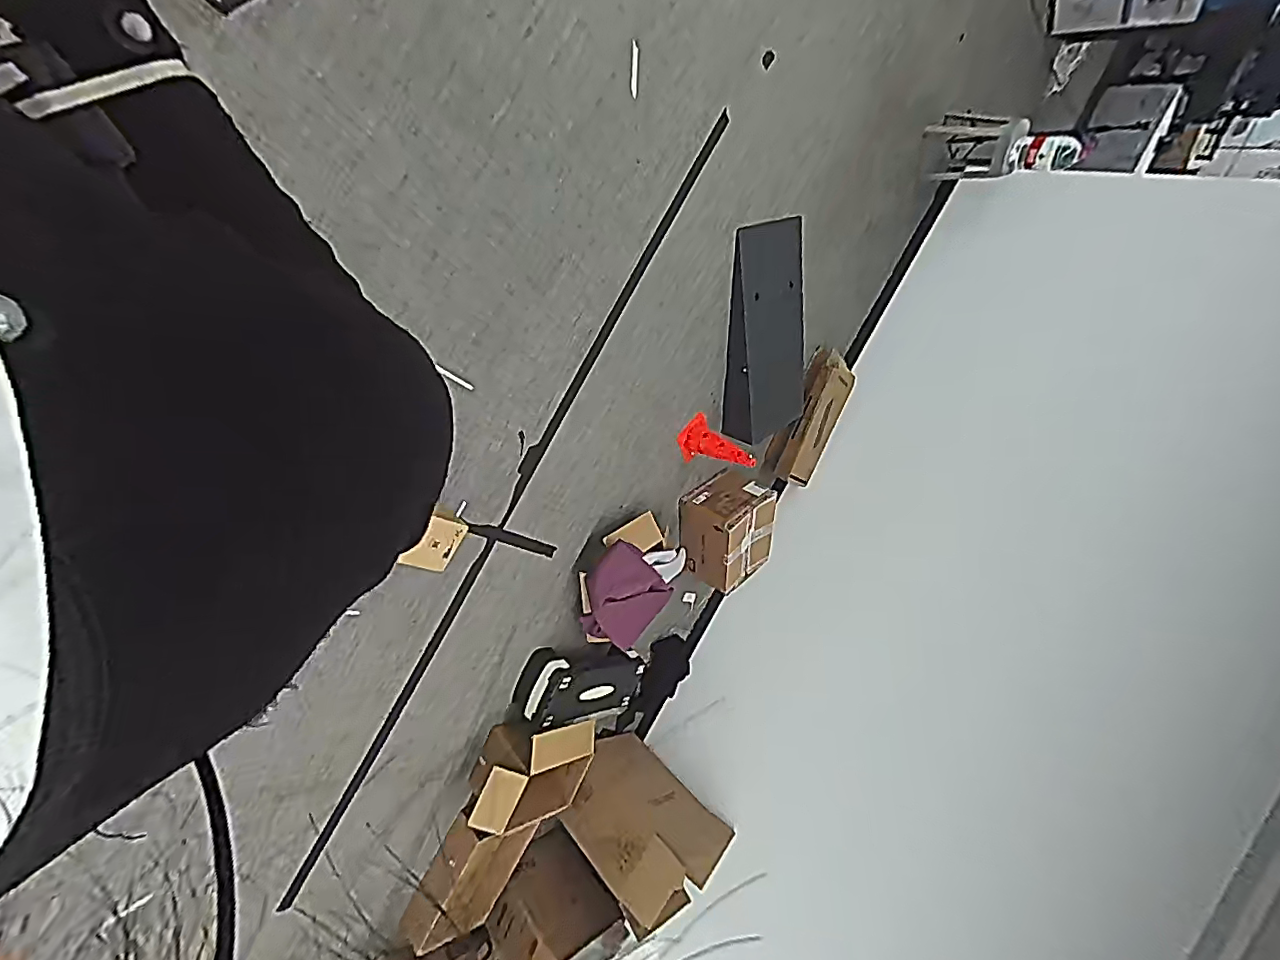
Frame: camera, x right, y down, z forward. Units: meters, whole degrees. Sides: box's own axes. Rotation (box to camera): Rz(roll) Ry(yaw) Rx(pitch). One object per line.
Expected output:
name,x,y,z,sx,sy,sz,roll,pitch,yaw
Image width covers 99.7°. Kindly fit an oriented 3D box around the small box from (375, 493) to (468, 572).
small box,-0.674,0.156,1.658,0.179,0.176,0.168,33,87,-52
